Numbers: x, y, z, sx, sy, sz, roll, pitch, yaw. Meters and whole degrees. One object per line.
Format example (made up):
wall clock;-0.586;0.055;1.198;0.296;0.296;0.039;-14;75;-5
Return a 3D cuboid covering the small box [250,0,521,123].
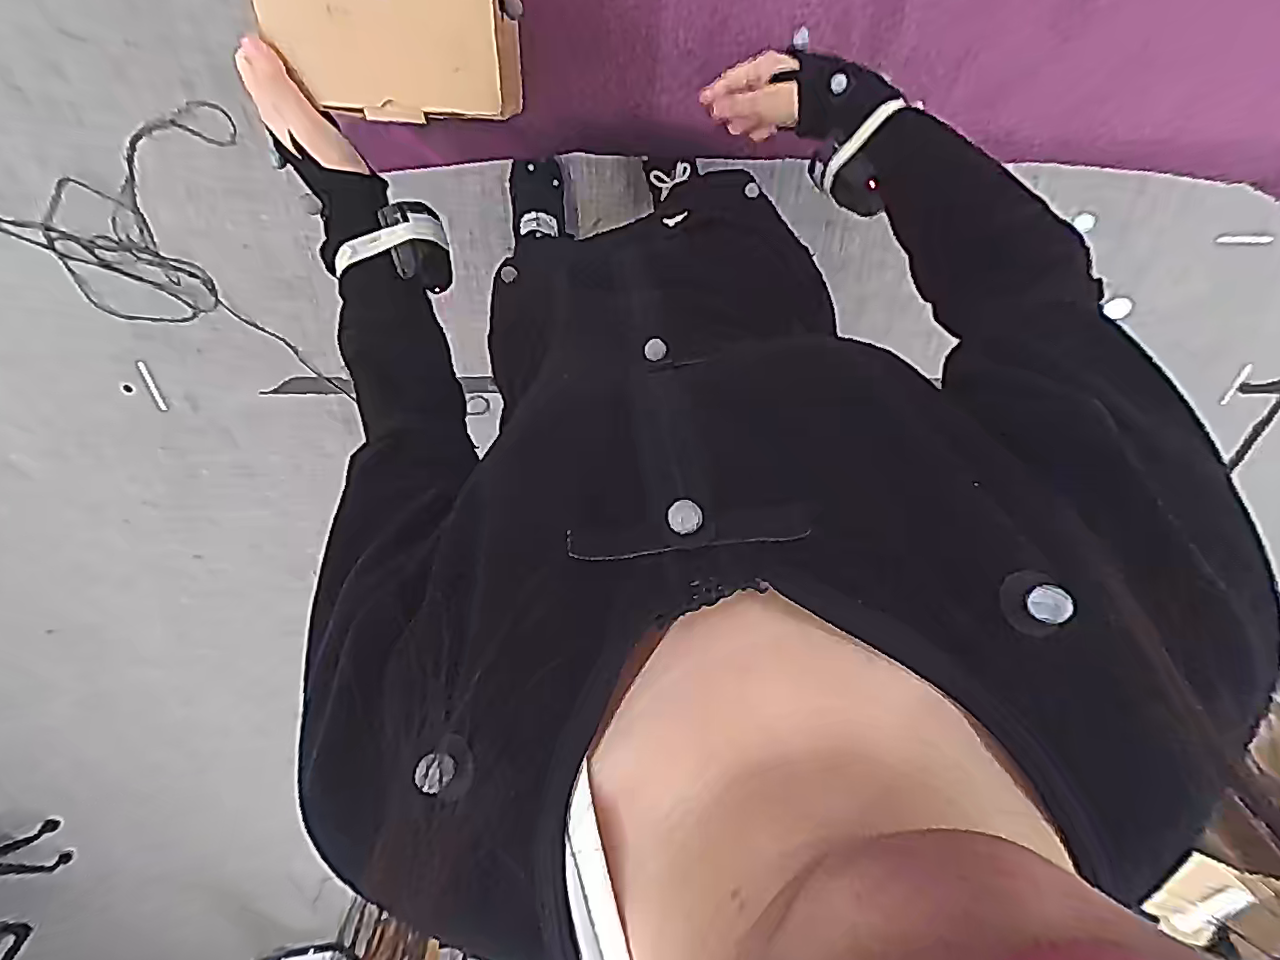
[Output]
small box;-0.189;-0.396;0.425;0.168;0.176;0.179;-1;127;-5
